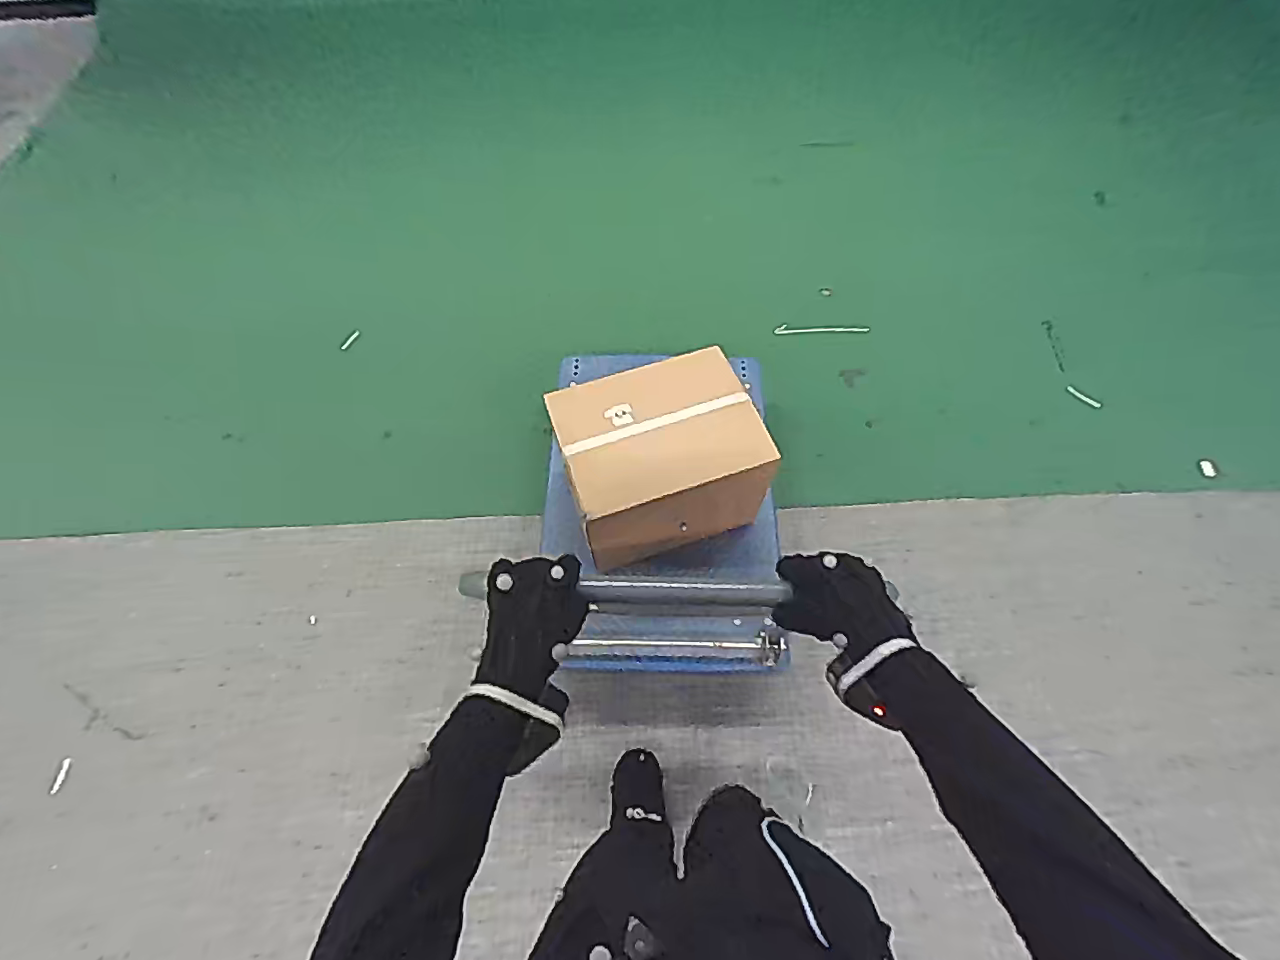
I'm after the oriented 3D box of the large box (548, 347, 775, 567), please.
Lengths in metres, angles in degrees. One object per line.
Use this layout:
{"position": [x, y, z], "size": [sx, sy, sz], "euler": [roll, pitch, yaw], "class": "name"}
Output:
{"position": [0.042, -0.042, 1.252], "size": [0.408, 0.320, 0.320], "euler": [-19, 62, -8], "class": "large box"}
